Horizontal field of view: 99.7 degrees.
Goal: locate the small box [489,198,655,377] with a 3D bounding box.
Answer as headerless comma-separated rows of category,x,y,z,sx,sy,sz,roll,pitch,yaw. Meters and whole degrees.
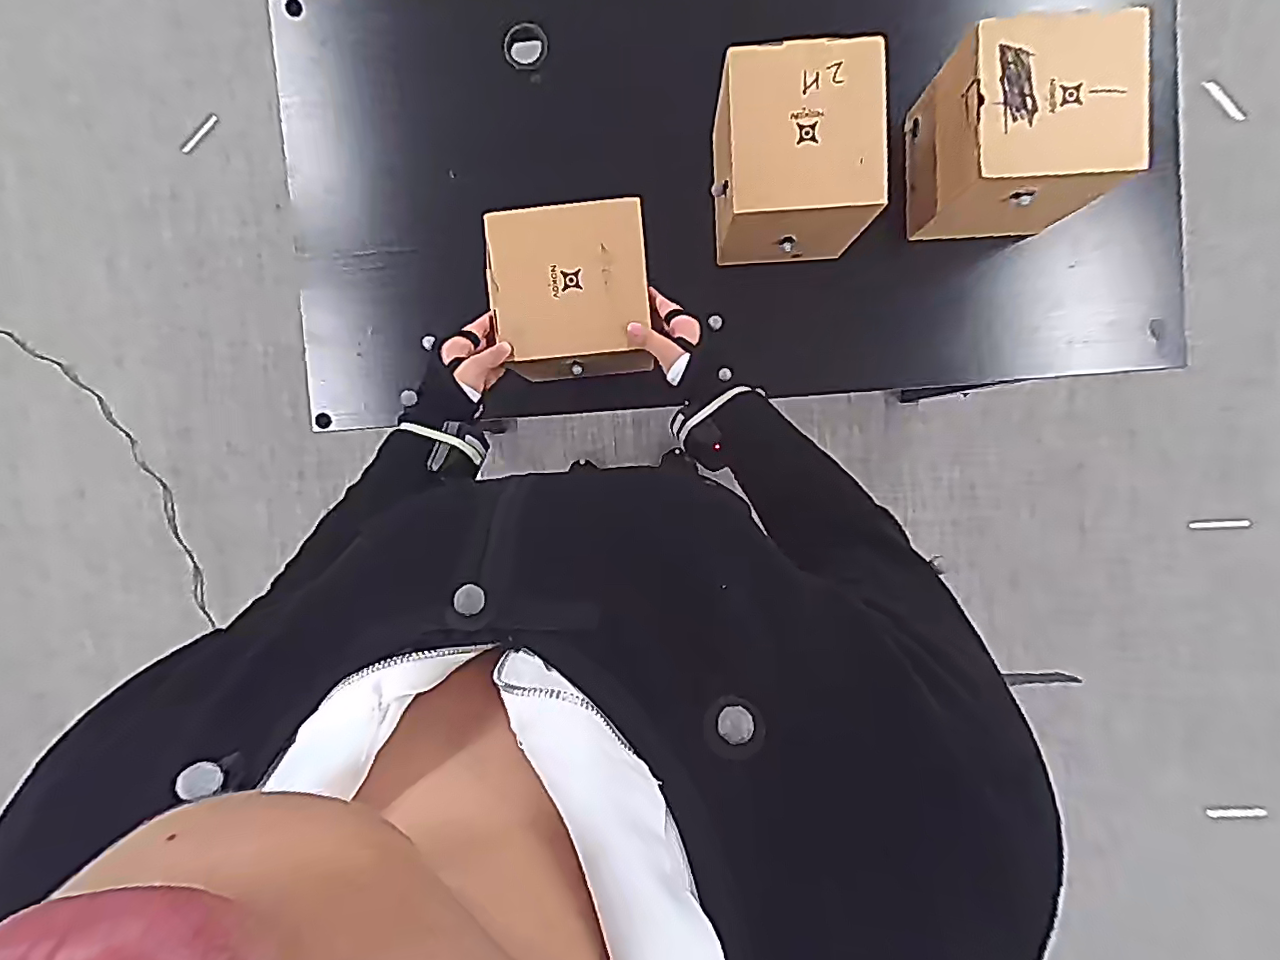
small box,-0.075,-0.229,0.687,0.179,0.176,0.168,-6,94,1

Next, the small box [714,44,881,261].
small box,0.182,-0.383,0.667,0.168,0.176,0.179,-2,92,2

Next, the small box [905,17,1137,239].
small box,0.441,-0.407,0.655,0.179,0.176,0.168,-2,93,2
